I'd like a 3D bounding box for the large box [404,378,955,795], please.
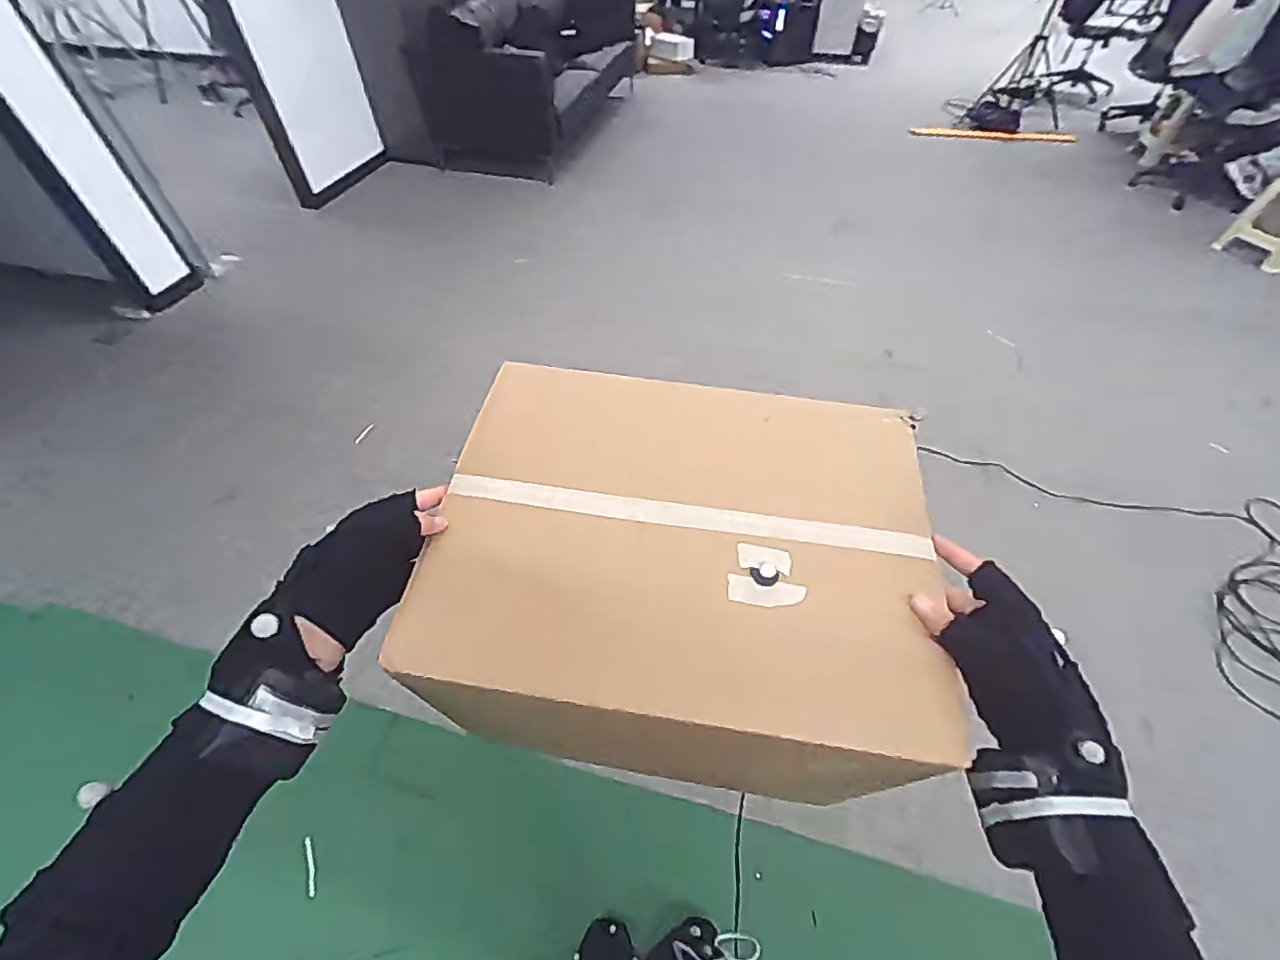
[{"bbox_3d":[0.039,0.123,0.587,0.408,0.320,0.320,8,56,5],"label":"large box"}]
